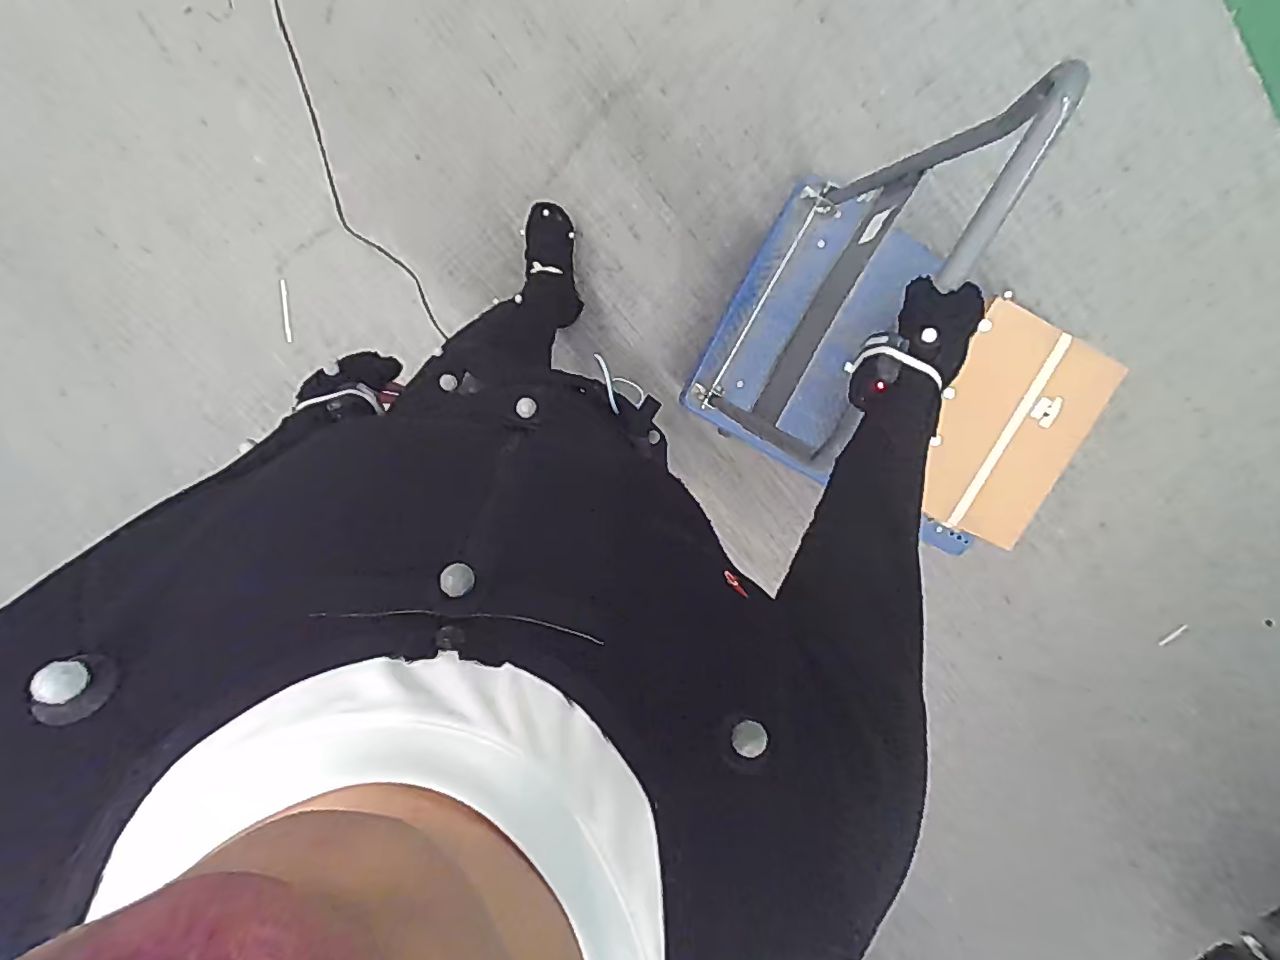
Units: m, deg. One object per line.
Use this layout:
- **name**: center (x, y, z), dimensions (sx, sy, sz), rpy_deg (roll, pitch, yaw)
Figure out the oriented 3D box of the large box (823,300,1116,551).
- **large box**: center (0.670, -0.121, 1.172), dimensions (0.320, 0.320, 0.408), rpy_deg (24, 100, -10)
